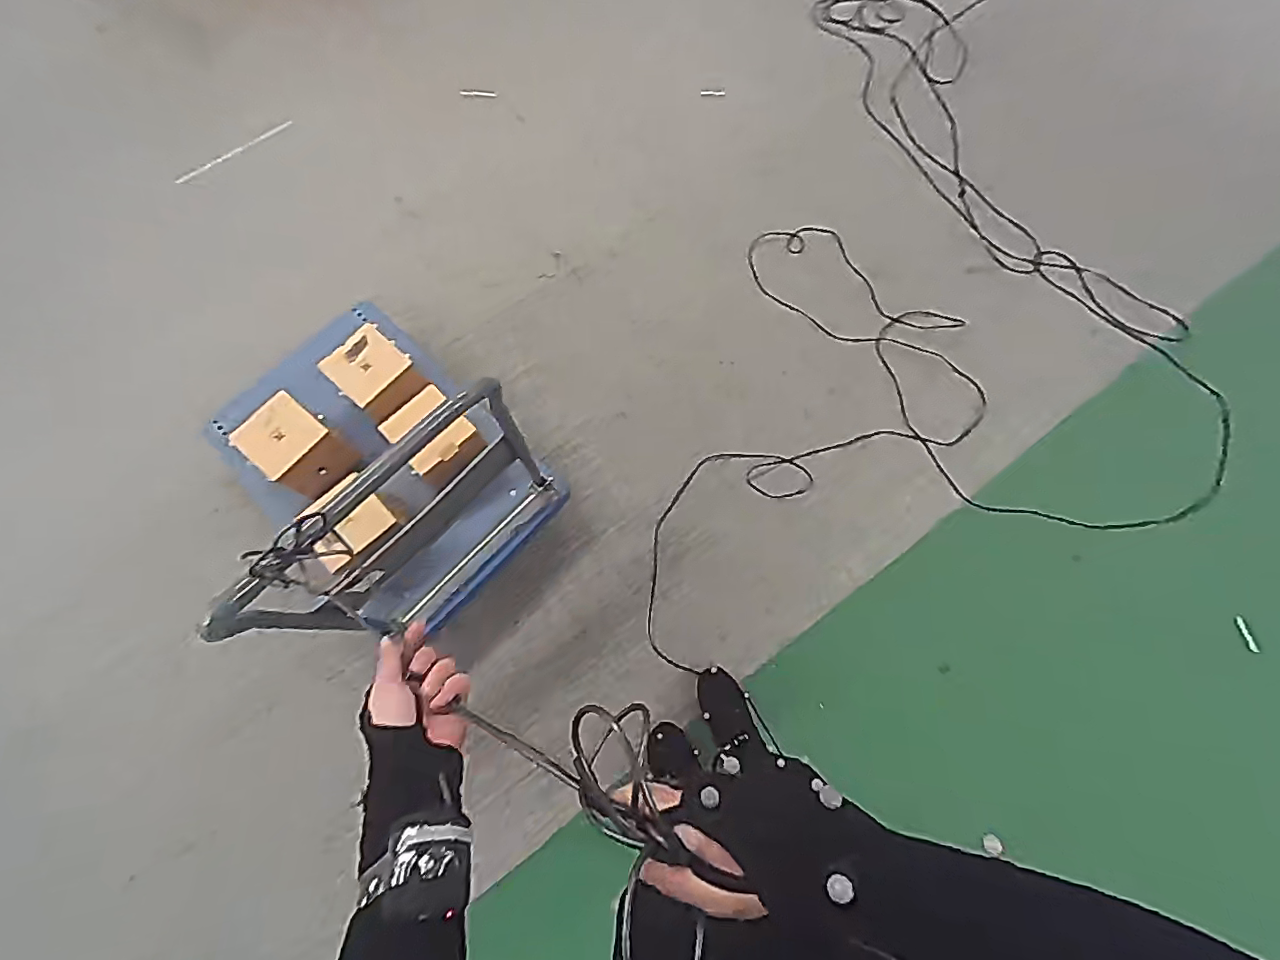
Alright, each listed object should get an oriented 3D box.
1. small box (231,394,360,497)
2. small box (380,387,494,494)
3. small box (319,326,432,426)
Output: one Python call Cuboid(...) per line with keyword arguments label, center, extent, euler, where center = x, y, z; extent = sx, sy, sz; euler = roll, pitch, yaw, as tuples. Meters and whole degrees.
Cuboid(label="small box", center=(-0.847, -0.075, 1.350), extent=(0.179, 0.176, 0.168), euler=(38, 77, 12))
Cuboid(label="small box", center=(-0.497, -0.090, 1.346), extent=(0.168, 0.176, 0.179), euler=(-44, 77, -11))
Cuboid(label="small box", center=(-0.671, -0.254, 1.400), extent=(0.179, 0.176, 0.168), euler=(40, 79, 12))
